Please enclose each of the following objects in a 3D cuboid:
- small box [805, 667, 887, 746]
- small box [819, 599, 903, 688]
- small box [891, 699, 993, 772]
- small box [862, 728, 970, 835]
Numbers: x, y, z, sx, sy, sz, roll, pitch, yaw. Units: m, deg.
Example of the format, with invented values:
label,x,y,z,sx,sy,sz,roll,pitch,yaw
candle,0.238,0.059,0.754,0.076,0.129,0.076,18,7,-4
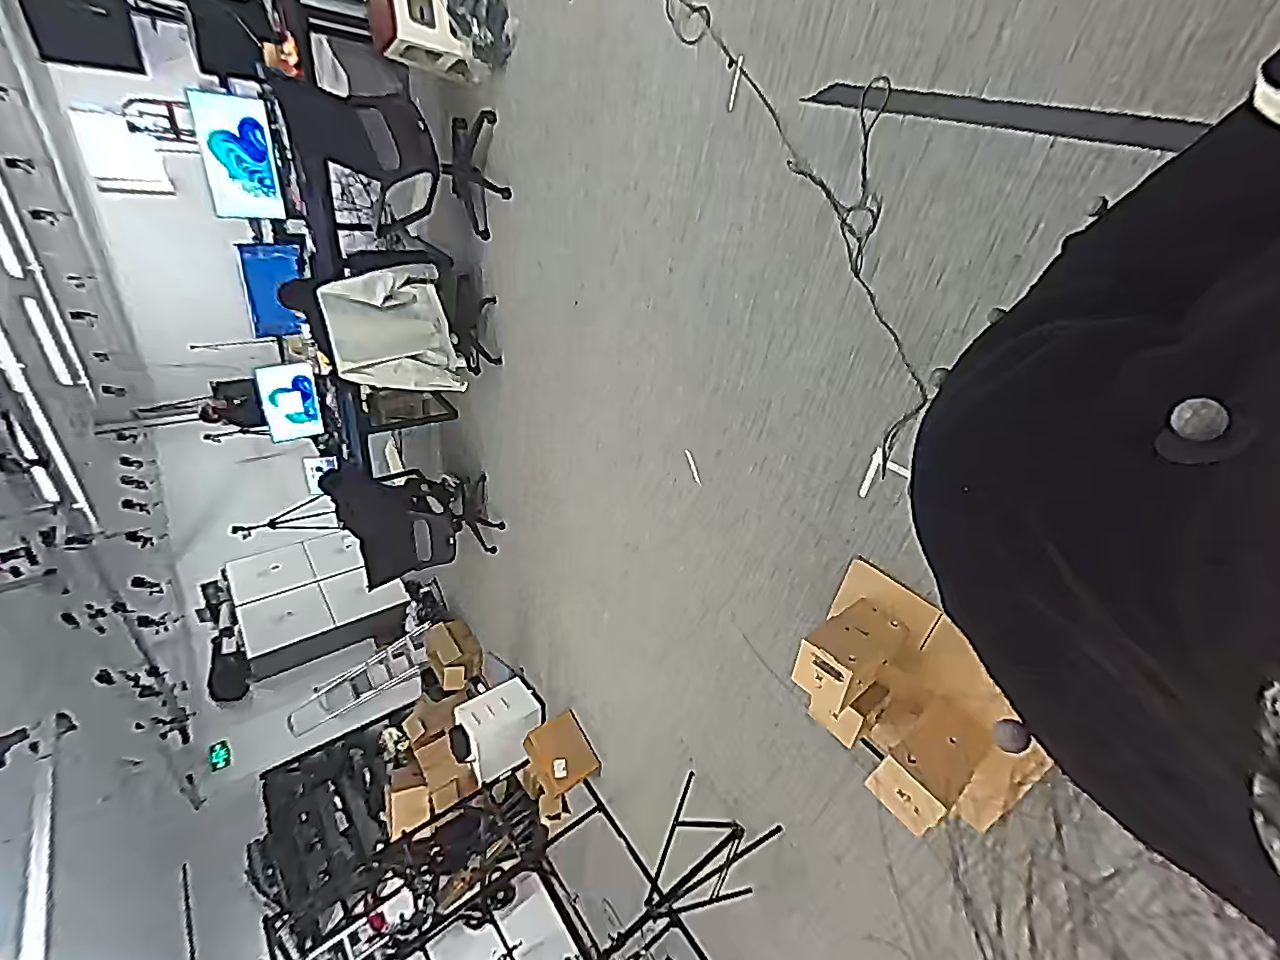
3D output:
label,x,y,z,sx,sy,sz,roll,pitch,yaw
small box,0.696,0.745,1.827,0.179,0.176,0.168,34,130,40
small box,0.703,0.510,1.714,0.168,0.176,0.179,34,130,40
small box,0.885,0.774,1.588,0.179,0.176,0.168,40,133,34
small box,0.759,0.817,1.490,0.179,0.176,0.168,41,134,33
